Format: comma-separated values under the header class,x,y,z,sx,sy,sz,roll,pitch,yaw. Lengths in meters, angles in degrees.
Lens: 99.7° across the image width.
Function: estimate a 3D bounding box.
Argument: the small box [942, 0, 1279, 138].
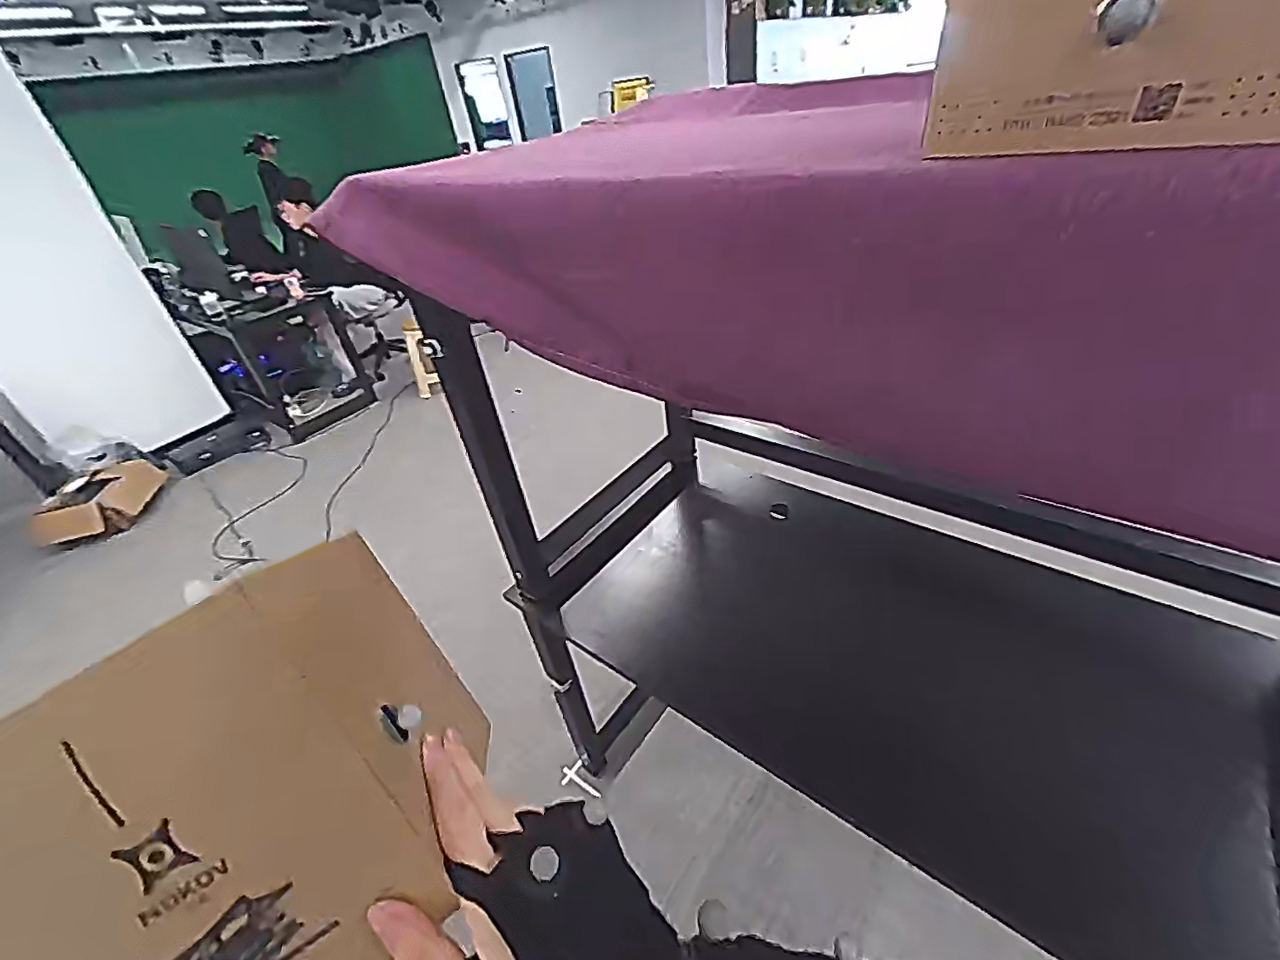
class,x,y,z,sx,sy,sz,roll,pitch,yaw
small box,0.274,-0.282,0.275,0.168,0.176,0.179,19,44,33
